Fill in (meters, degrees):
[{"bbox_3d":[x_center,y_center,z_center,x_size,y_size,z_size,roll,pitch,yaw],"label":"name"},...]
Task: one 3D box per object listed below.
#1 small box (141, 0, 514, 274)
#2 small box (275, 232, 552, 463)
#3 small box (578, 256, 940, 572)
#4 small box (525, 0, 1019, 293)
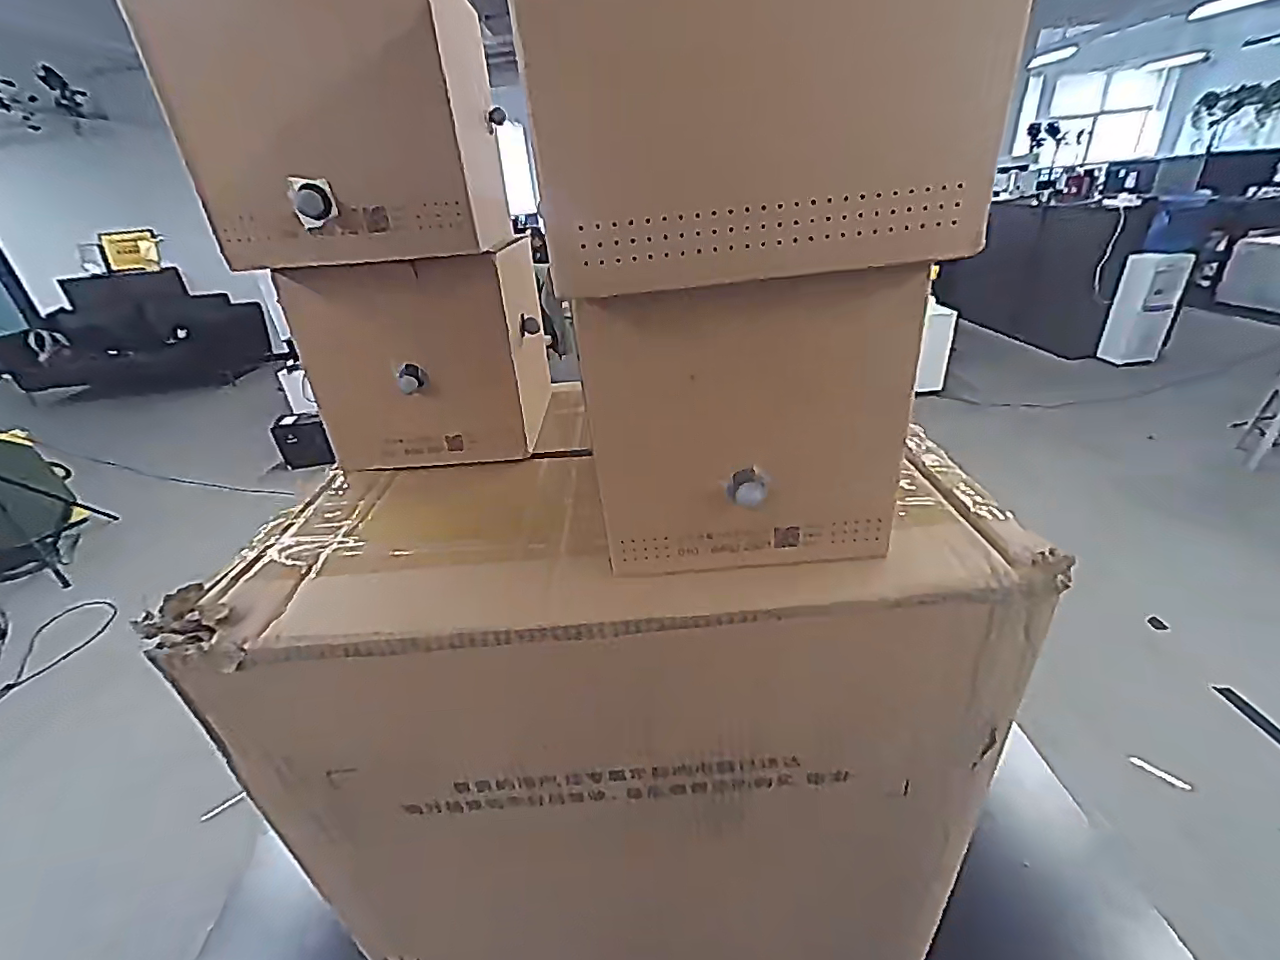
[{"bbox_3d":[-0.192,-0.249,0.388,0.168,0.176,0.179,-7,29,-2],"label":"small box"},{"bbox_3d":[-0.179,-0.122,0.497,0.168,0.176,0.179,-4,29,0],"label":"small box"},{"bbox_3d":[0.060,-0.061,0.353,0.168,0.176,0.179,-5,29,3],"label":"small box"},{"bbox_3d":[0.043,-0.188,0.246,0.179,0.176,0.168,-6,30,-1],"label":"small box"}]
